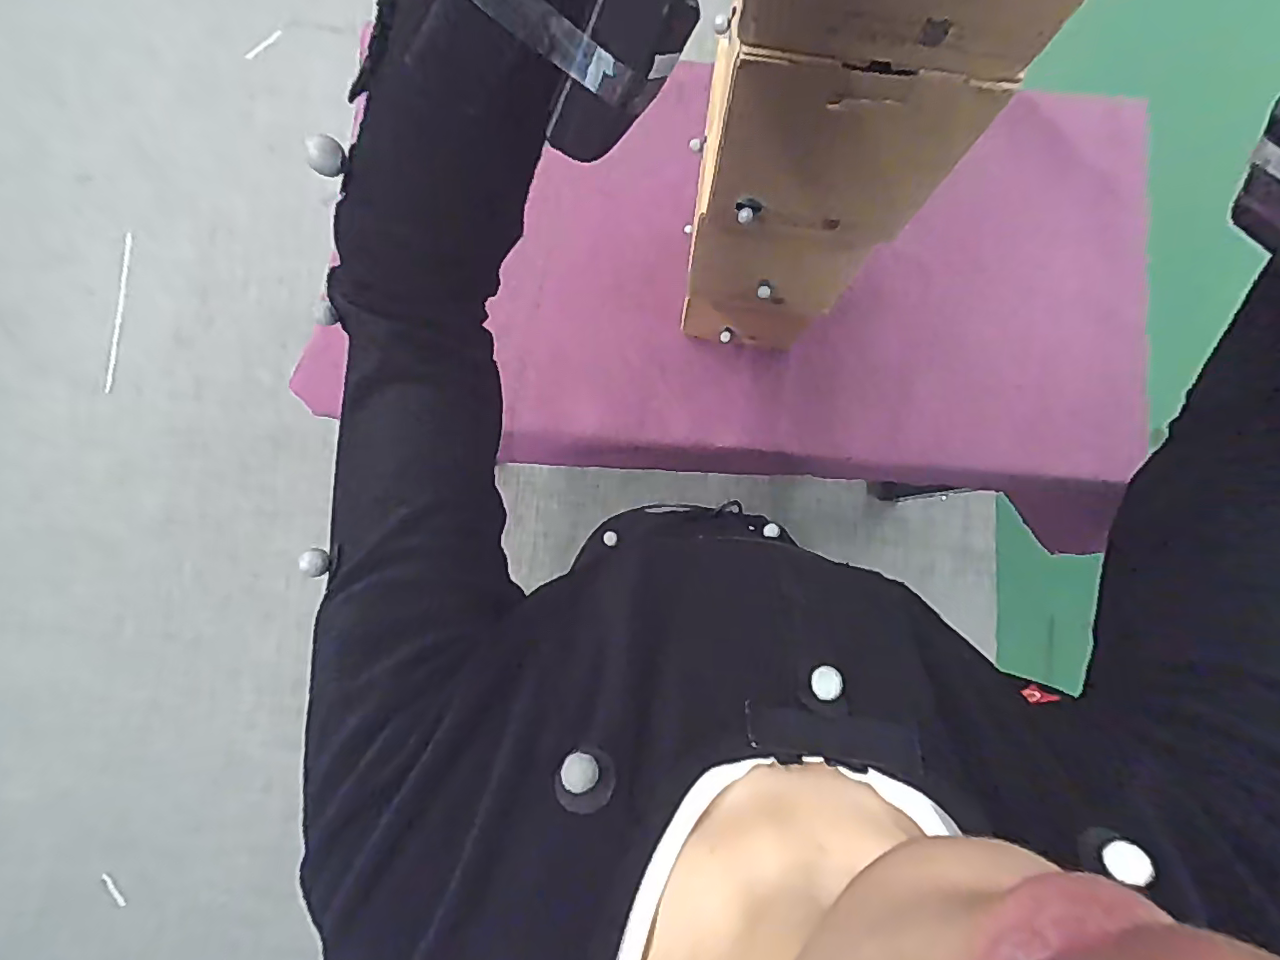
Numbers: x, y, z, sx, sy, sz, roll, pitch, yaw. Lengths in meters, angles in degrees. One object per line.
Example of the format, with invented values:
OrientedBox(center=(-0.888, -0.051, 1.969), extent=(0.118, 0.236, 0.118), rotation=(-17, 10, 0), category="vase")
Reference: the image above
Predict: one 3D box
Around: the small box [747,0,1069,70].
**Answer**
OrientedBox(center=(0.148, -0.338, 0.237), extent=(0.168, 0.176, 0.179), rotation=(9, 84, 2), category="small box")

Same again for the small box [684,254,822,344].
OrientedBox(center=(0.154, -0.305, 0.727), extent=(0.168, 0.176, 0.179), rotation=(9, 84, 2), category="small box")

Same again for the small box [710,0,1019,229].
OrientedBox(center=(0.148, -0.315, 0.399), extent=(0.168, 0.176, 0.179), rotation=(8, 83, 1), category="small box")

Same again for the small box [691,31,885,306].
OrientedBox(center=(0.147, -0.307, 0.563), extent=(0.168, 0.176, 0.179), rotation=(7, 84, 2), category="small box")
